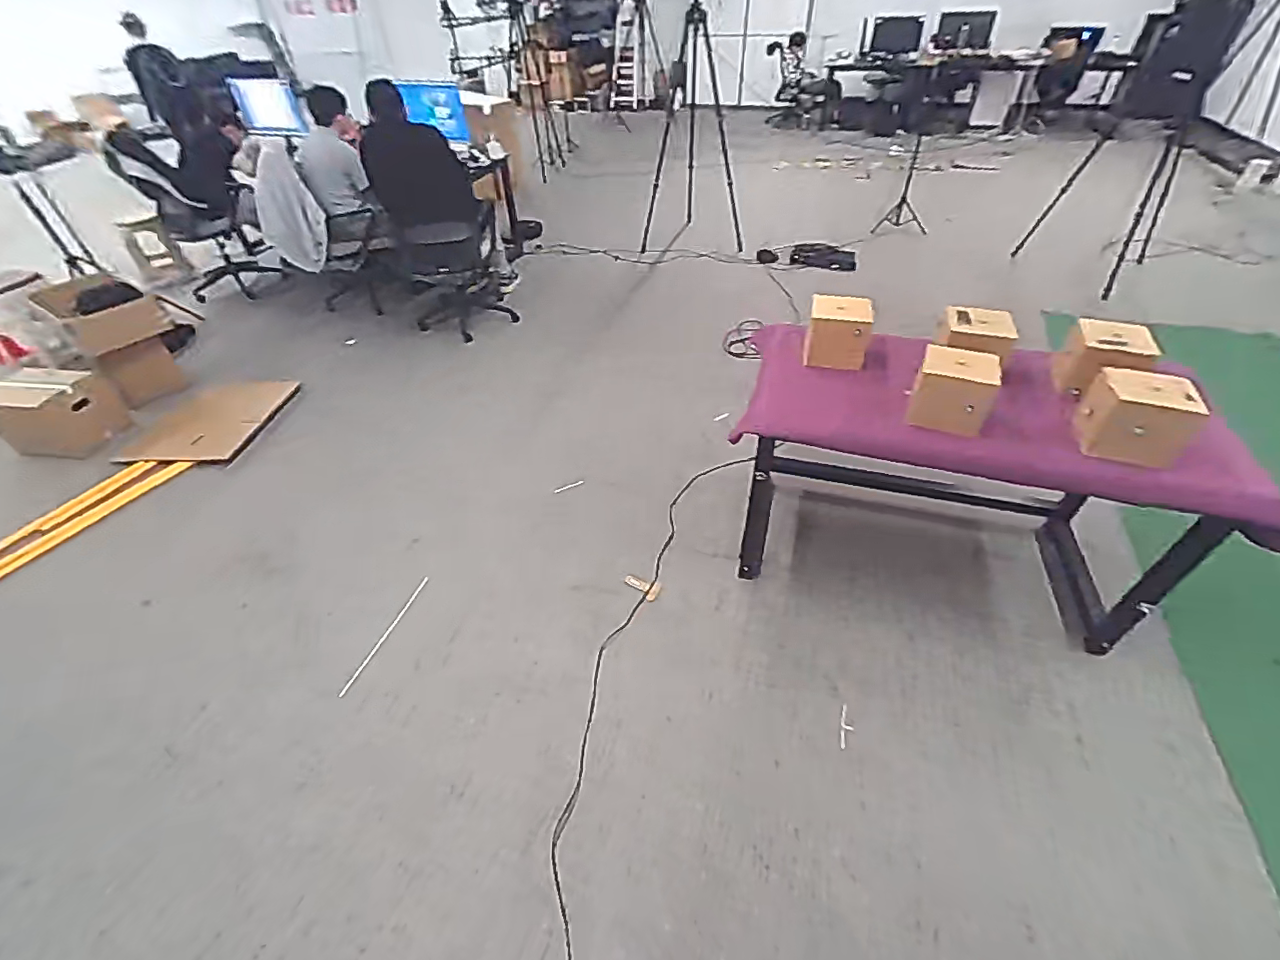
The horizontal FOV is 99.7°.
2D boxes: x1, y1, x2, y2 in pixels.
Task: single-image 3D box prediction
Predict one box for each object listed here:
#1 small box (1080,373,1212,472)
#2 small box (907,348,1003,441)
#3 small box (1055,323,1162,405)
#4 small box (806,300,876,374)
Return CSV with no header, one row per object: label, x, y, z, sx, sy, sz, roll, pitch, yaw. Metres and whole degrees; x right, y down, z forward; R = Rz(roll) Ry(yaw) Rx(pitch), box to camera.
small box,1.223,-0.140,1.328,0.179,0.176,0.168,14,44,19
small box,0.840,-0.226,1.445,0.179,0.176,0.168,16,44,21
small box,1.303,-0.316,1.519,0.168,0.176,0.179,15,45,19
small box,0.625,-0.449,1.701,0.179,0.176,0.168,9,44,11
